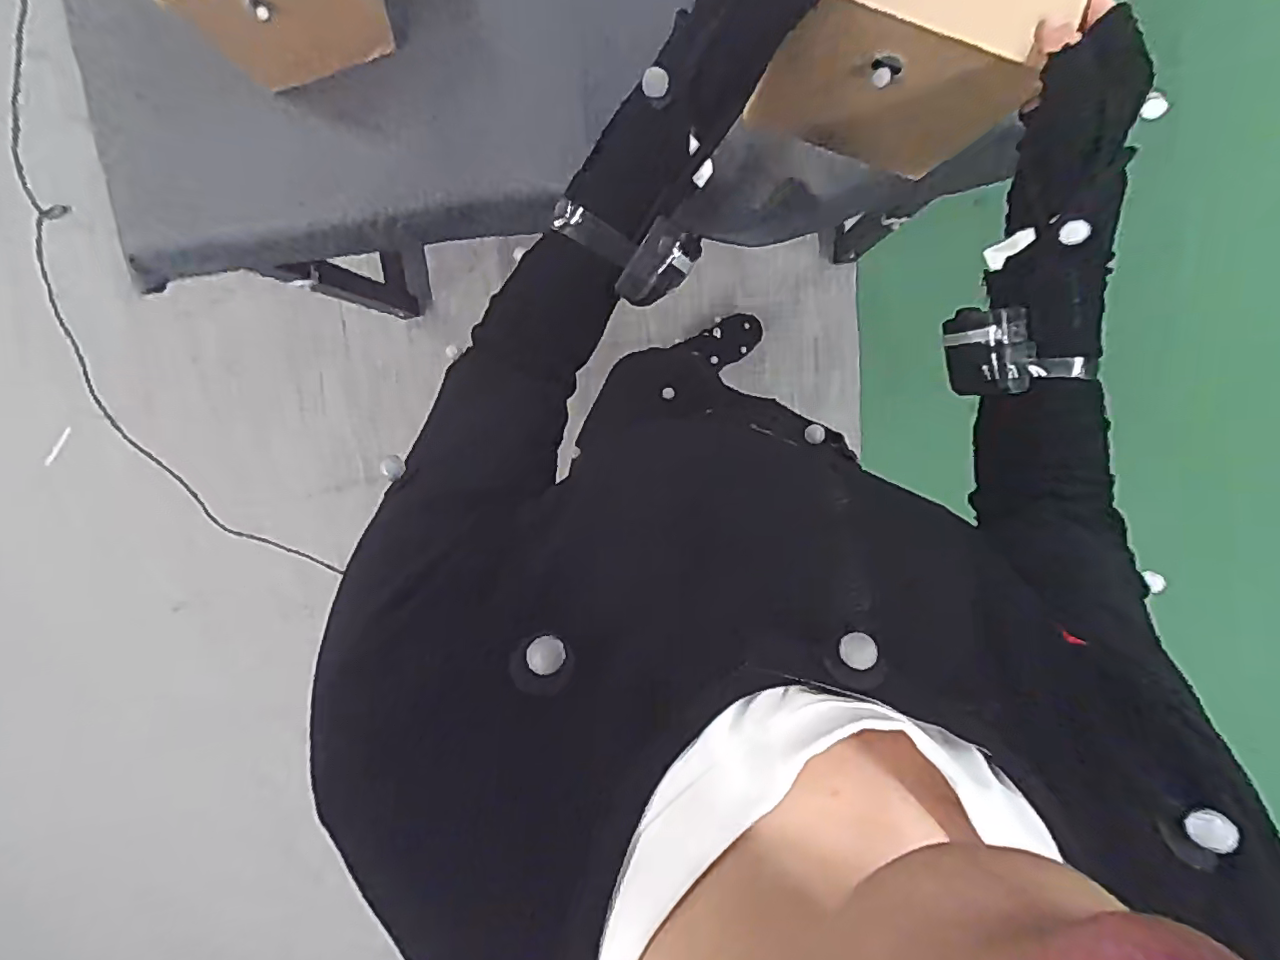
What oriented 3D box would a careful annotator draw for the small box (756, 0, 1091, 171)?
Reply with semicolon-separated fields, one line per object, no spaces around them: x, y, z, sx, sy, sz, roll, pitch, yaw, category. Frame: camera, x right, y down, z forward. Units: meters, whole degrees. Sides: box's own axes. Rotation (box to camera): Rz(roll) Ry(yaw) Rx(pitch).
0.207;-0.368;0.409;0.179;0.176;0.168;16;98;-6;small box

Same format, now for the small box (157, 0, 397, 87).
-0.402;-0.572;0.585;0.179;0.176;0.168;-15;99;4;small box
